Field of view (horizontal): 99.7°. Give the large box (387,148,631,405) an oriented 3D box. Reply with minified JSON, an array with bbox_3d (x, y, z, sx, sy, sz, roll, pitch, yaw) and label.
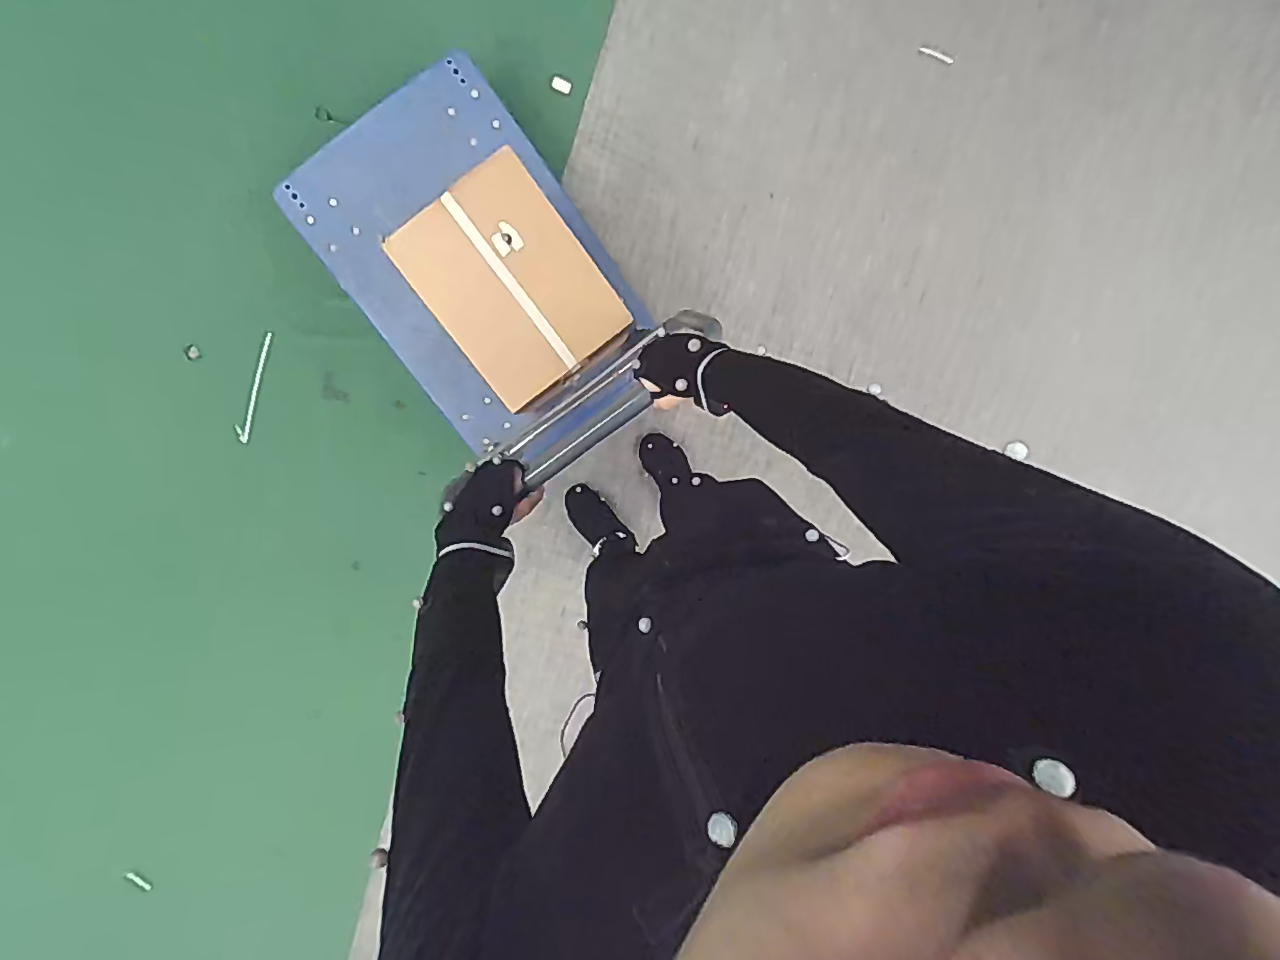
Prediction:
[{"bbox_3d":[-0.262,-0.417,1.220,0.320,0.320,0.408,-37,98,1],"label":"large box"}]
